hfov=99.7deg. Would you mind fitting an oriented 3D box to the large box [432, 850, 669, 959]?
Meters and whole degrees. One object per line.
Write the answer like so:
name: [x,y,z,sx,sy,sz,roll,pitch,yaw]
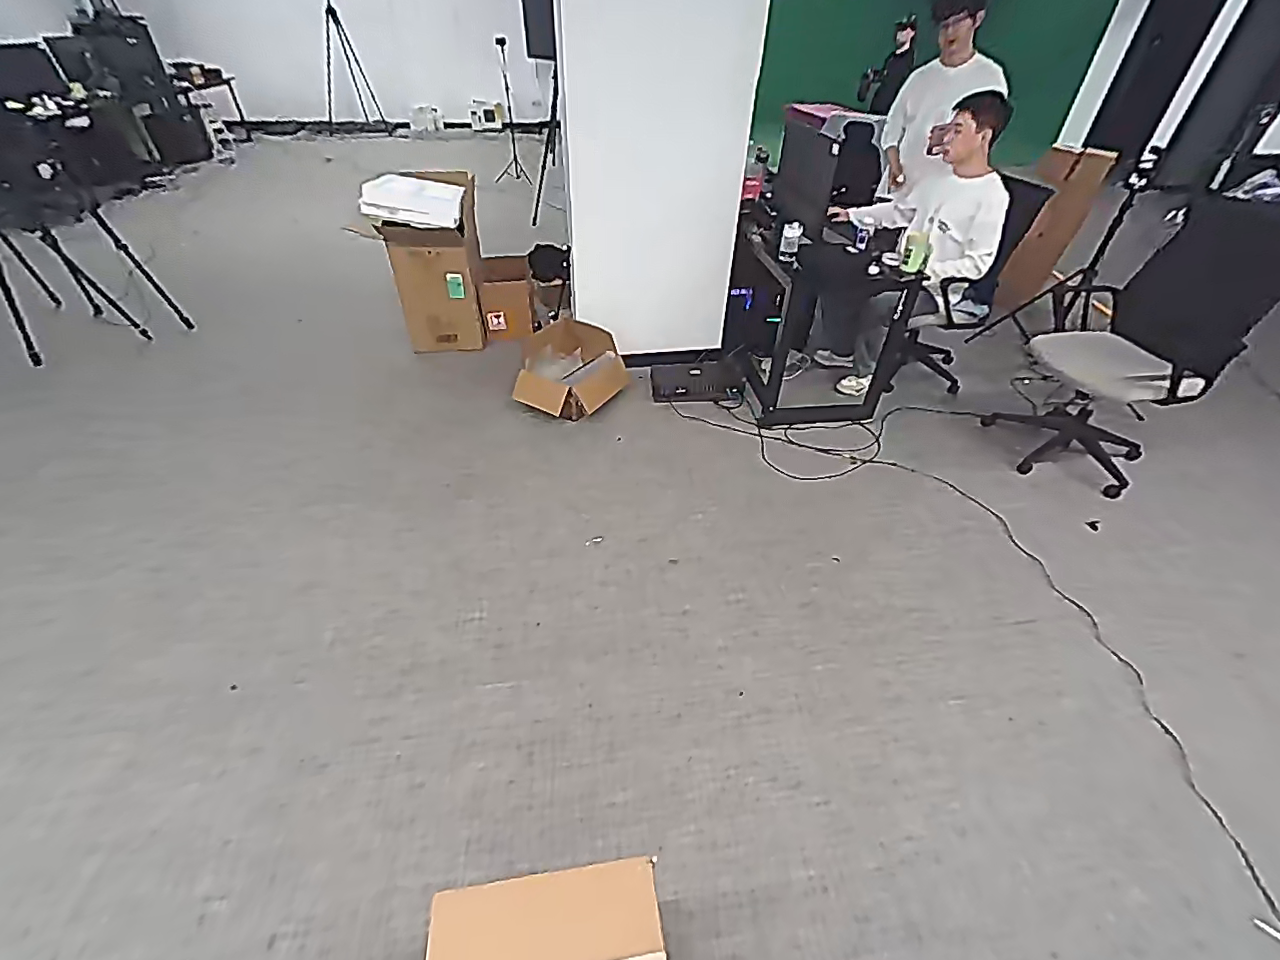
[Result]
large box: [-0.155,0.944,0.997,0.408,0.320,0.320,-4,41,-8]
